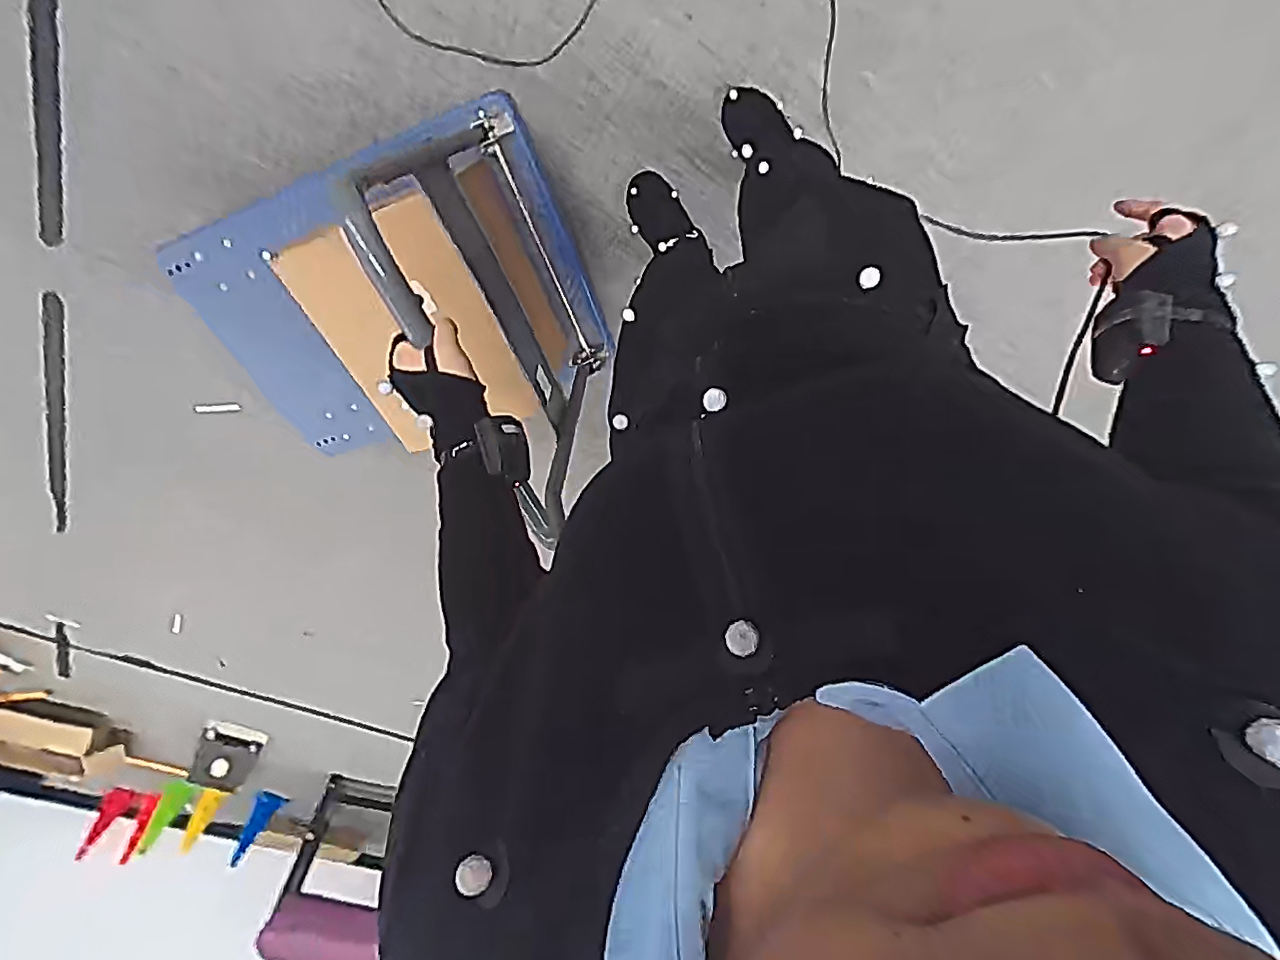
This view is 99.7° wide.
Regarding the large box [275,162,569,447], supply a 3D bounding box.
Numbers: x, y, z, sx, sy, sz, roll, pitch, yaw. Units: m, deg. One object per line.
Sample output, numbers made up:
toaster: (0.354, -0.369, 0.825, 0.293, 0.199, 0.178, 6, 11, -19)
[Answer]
large box: (-0.376, -0.340, 1.067, 0.320, 0.320, 0.408, -15, 125, 12)
